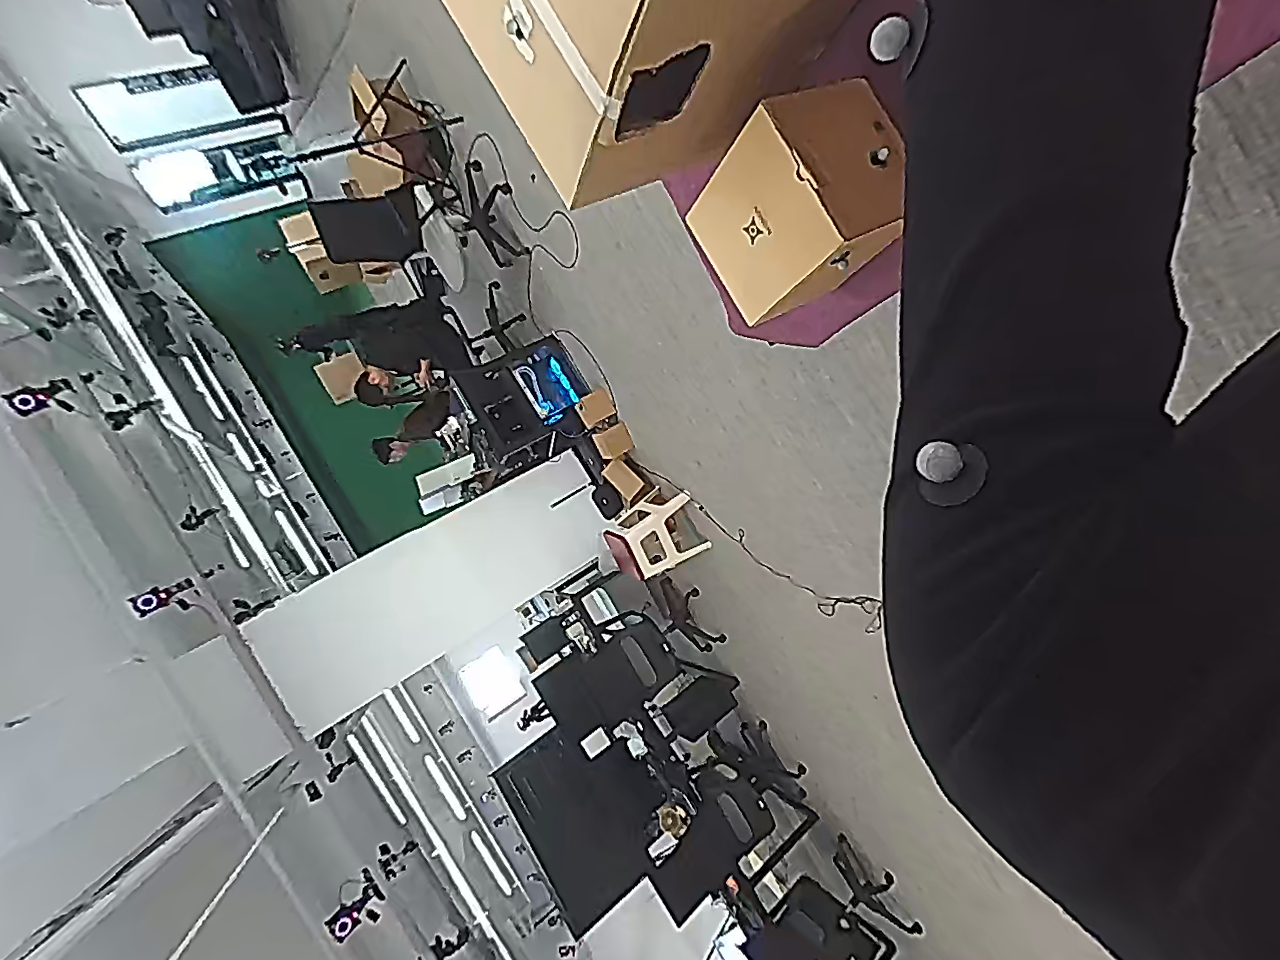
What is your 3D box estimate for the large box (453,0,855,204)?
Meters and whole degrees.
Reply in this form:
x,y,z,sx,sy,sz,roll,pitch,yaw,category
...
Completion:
x,y,z,sx,sy,sz,roll,pitch,yaw,category
-0.006,-0.596,0.558,0.408,0.320,0.320,57,158,-2,large box
